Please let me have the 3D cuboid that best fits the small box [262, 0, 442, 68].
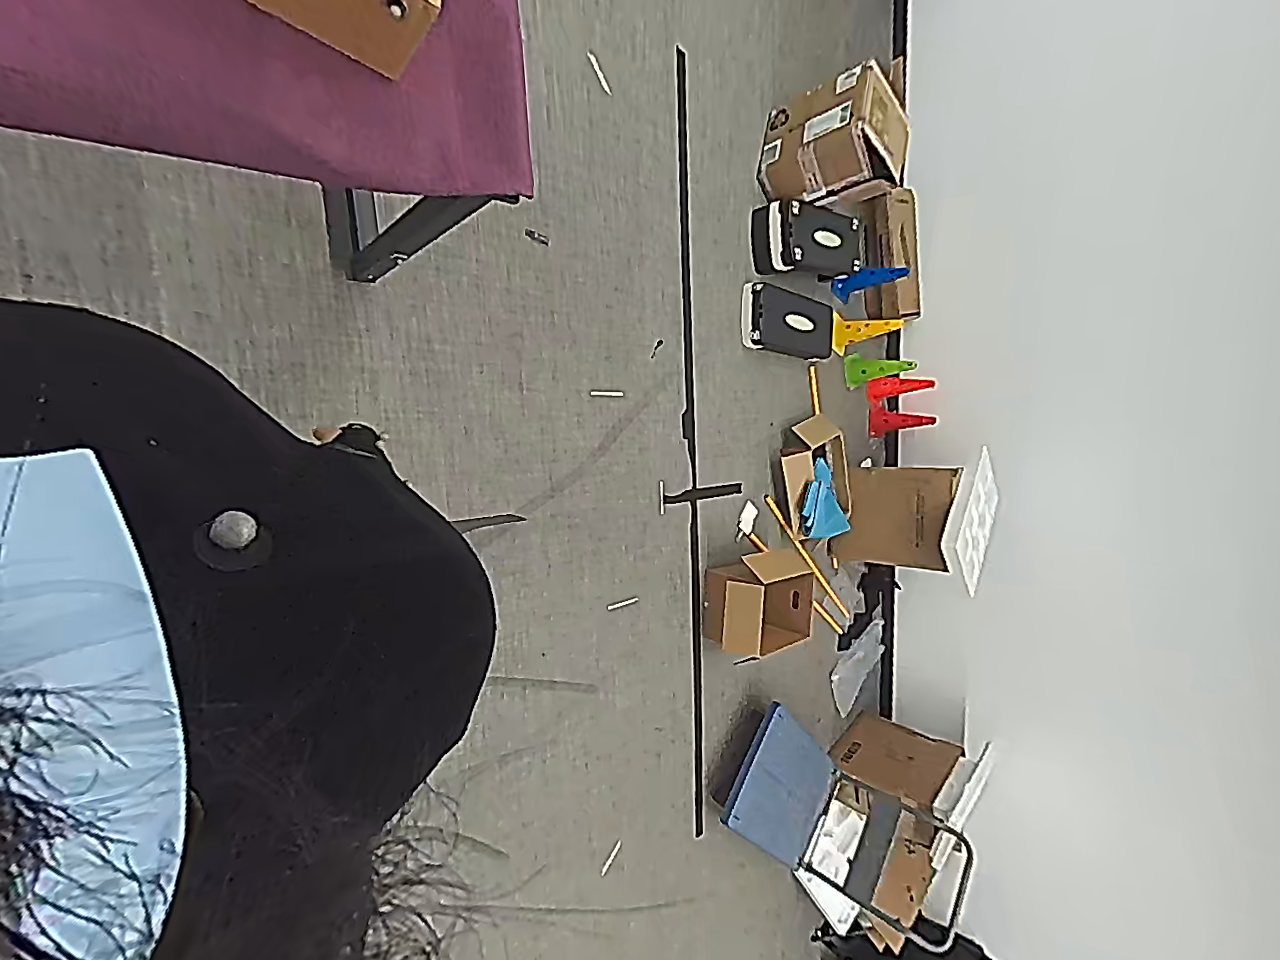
[{"bbox_3d":[-0.337,-0.630,0.620,0.179,0.176,0.168,5,90,-43],"label":"small box"}]
